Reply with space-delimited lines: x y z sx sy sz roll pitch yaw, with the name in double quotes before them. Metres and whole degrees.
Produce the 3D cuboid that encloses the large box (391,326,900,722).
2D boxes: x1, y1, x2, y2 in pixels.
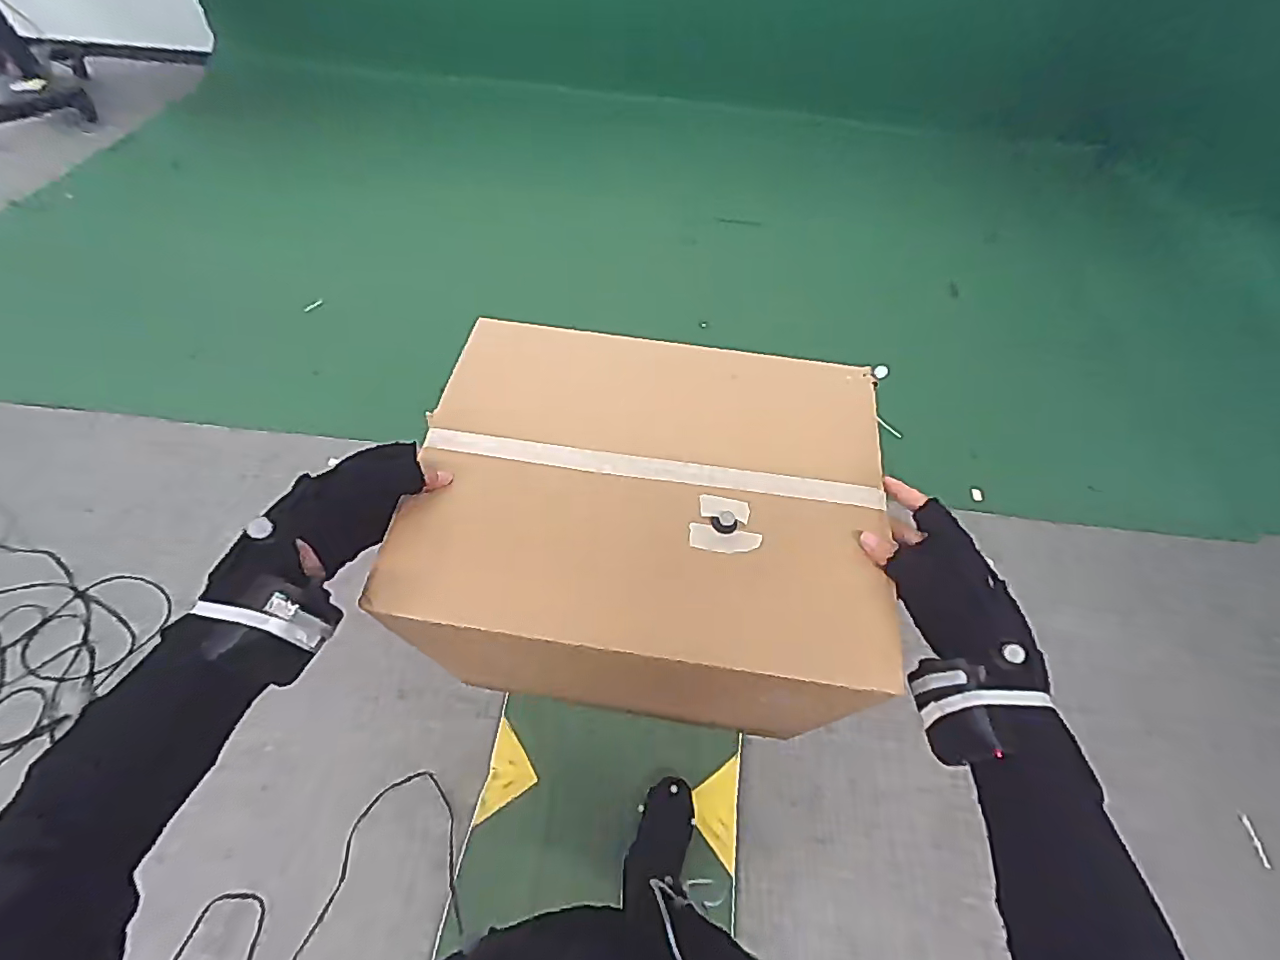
"large box" 0.012 0.066 0.615 0.408 0.320 0.320 8 60 2
